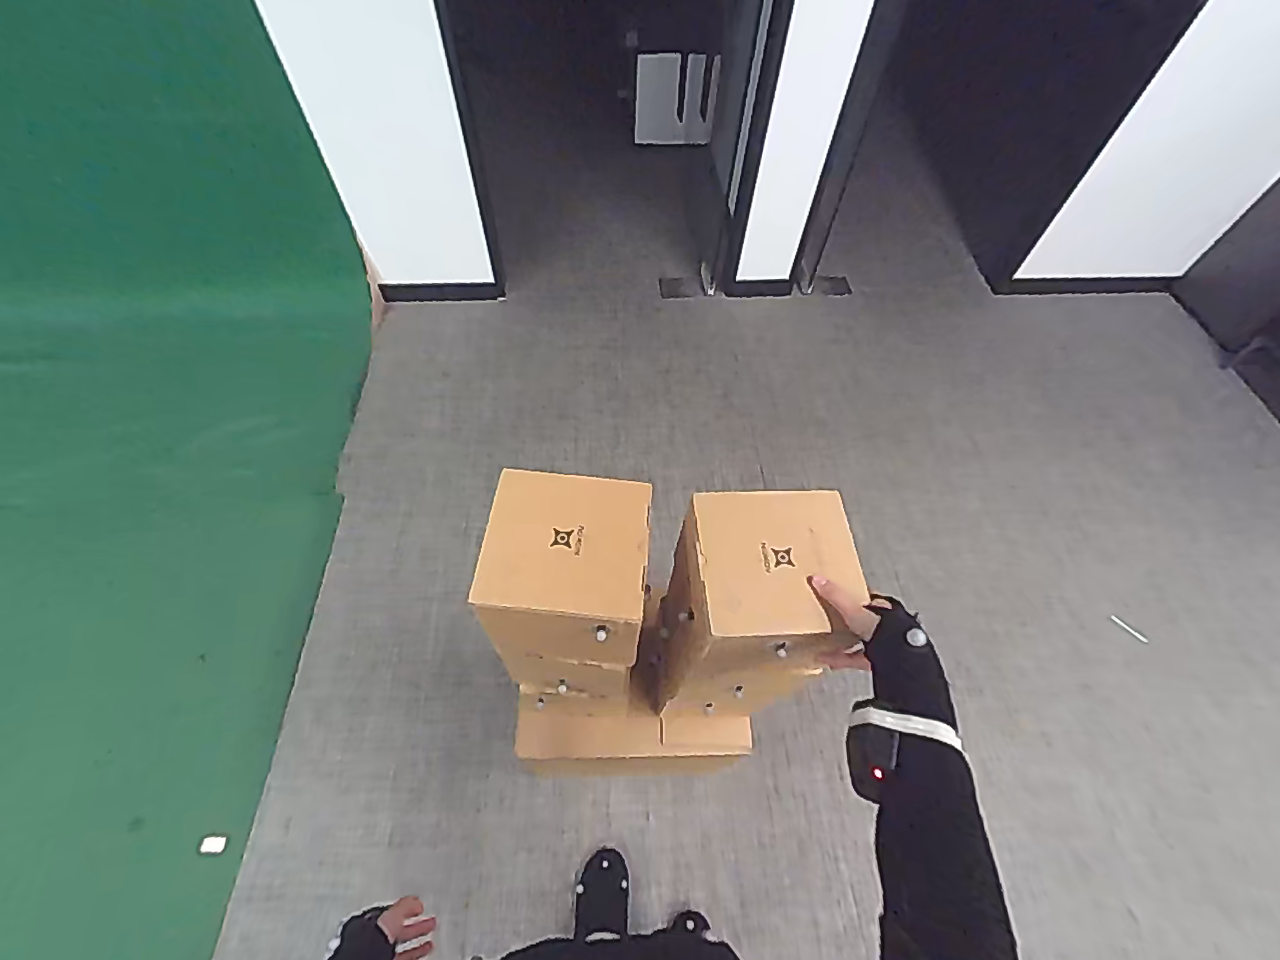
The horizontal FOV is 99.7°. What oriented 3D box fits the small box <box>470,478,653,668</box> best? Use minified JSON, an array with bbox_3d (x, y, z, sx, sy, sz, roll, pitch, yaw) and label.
[{"bbox_3d":[-0.081,0.116,0.647,0.179,0.176,0.168,6,56,0],"label":"small box"}]
